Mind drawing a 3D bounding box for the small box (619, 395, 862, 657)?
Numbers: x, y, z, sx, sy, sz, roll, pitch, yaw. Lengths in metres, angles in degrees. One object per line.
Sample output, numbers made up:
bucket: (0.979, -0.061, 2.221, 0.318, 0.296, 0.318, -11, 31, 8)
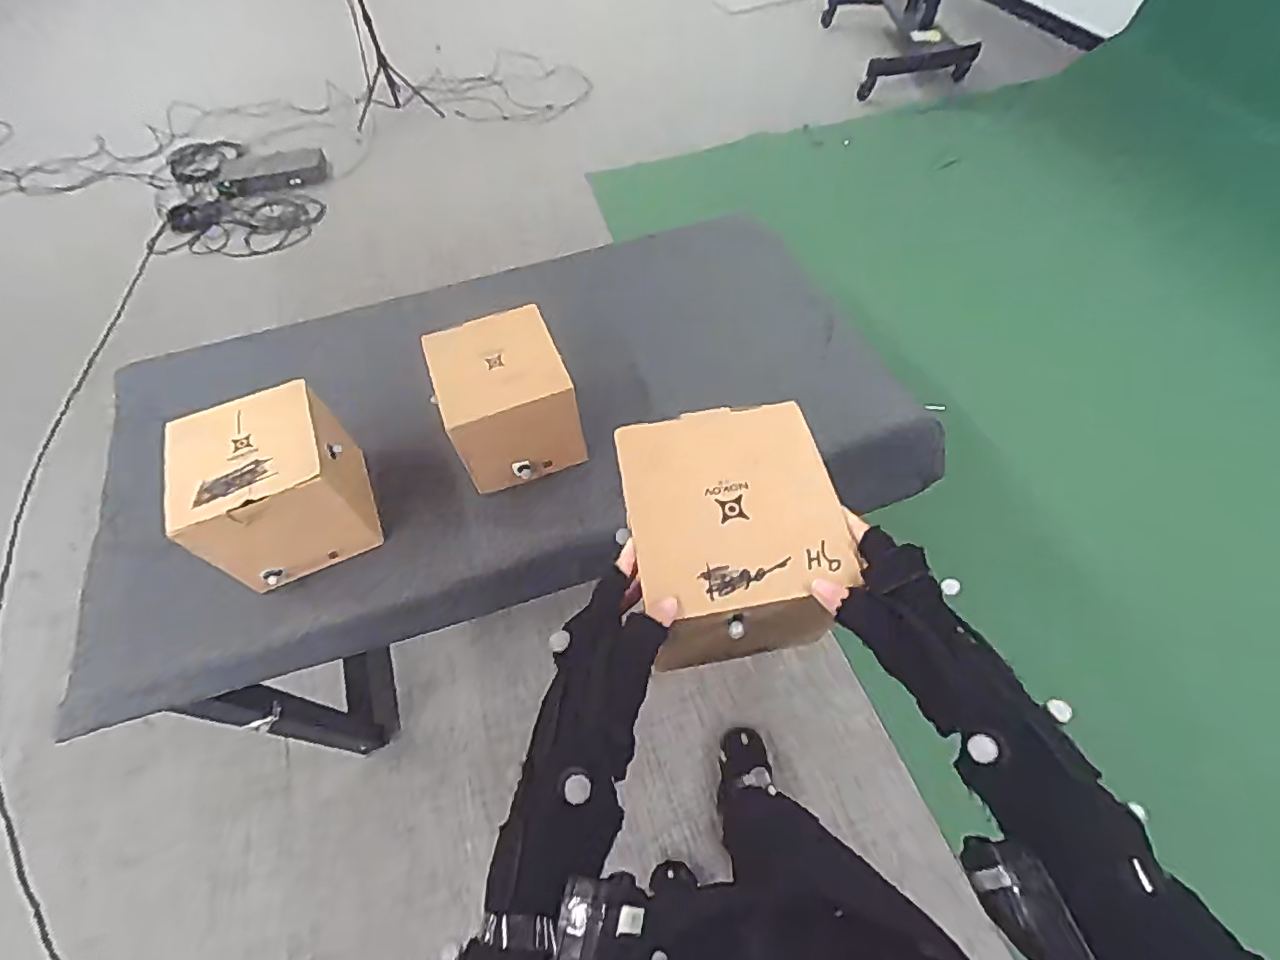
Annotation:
small box: (0.076, 0.049, 0.508, 0.168, 0.176, 0.179, -10, 59, -2)

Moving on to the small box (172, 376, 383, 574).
small box: (-0.461, 0.003, 0.707, 0.168, 0.176, 0.179, -22, 58, -12)

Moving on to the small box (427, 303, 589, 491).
small box: (-0.183, -0.115, 0.778, 0.168, 0.176, 0.179, -21, 60, -10)
